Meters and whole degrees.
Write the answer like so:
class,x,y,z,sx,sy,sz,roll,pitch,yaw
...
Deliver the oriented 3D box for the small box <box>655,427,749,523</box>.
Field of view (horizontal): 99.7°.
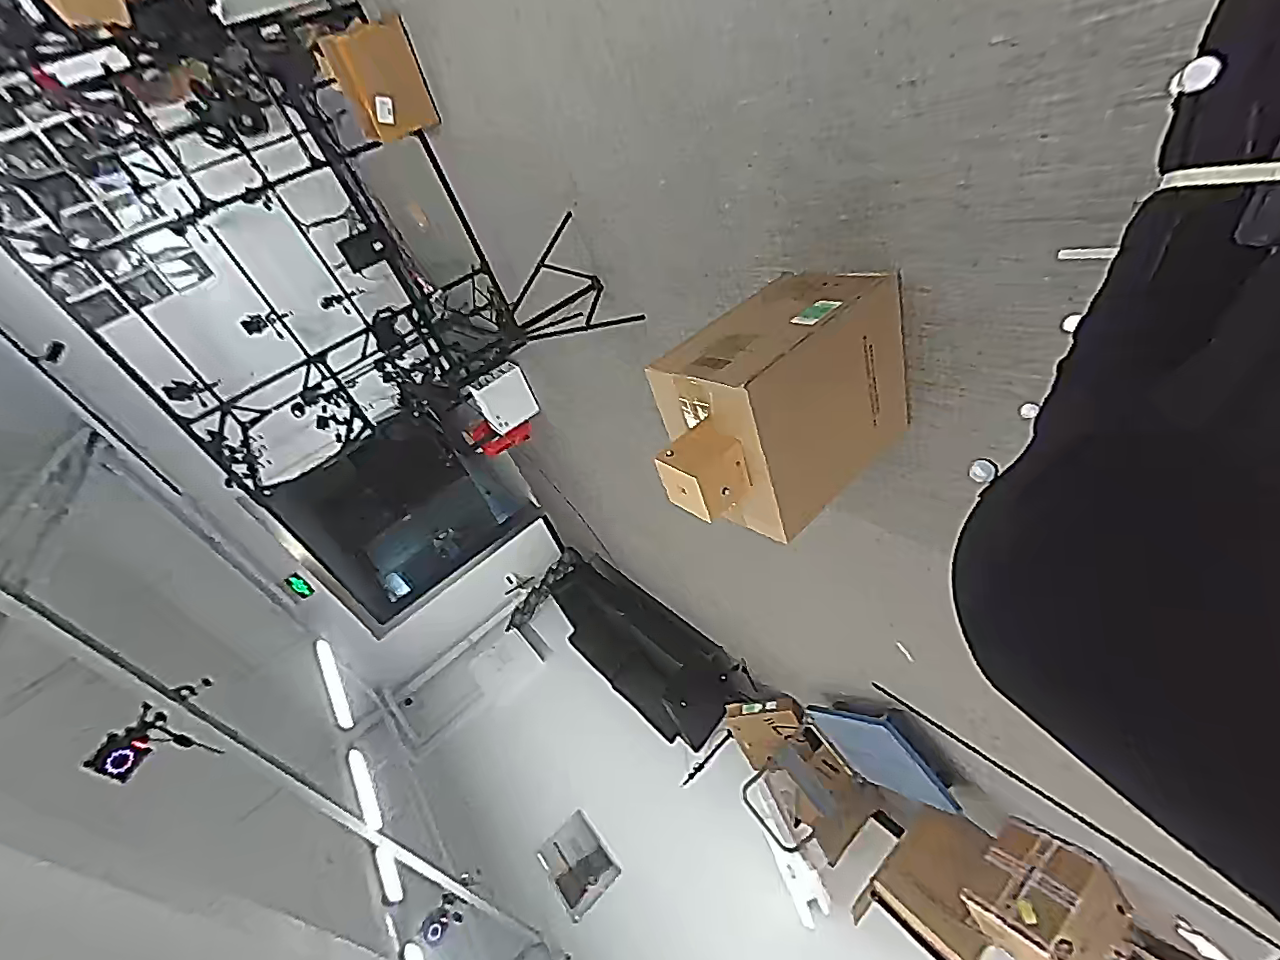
class,x,y,z,sx,sy,sz,roll,pitch,yaw
small box,0.175,-0.021,1.452,0.179,0.176,0.168,28,150,48
